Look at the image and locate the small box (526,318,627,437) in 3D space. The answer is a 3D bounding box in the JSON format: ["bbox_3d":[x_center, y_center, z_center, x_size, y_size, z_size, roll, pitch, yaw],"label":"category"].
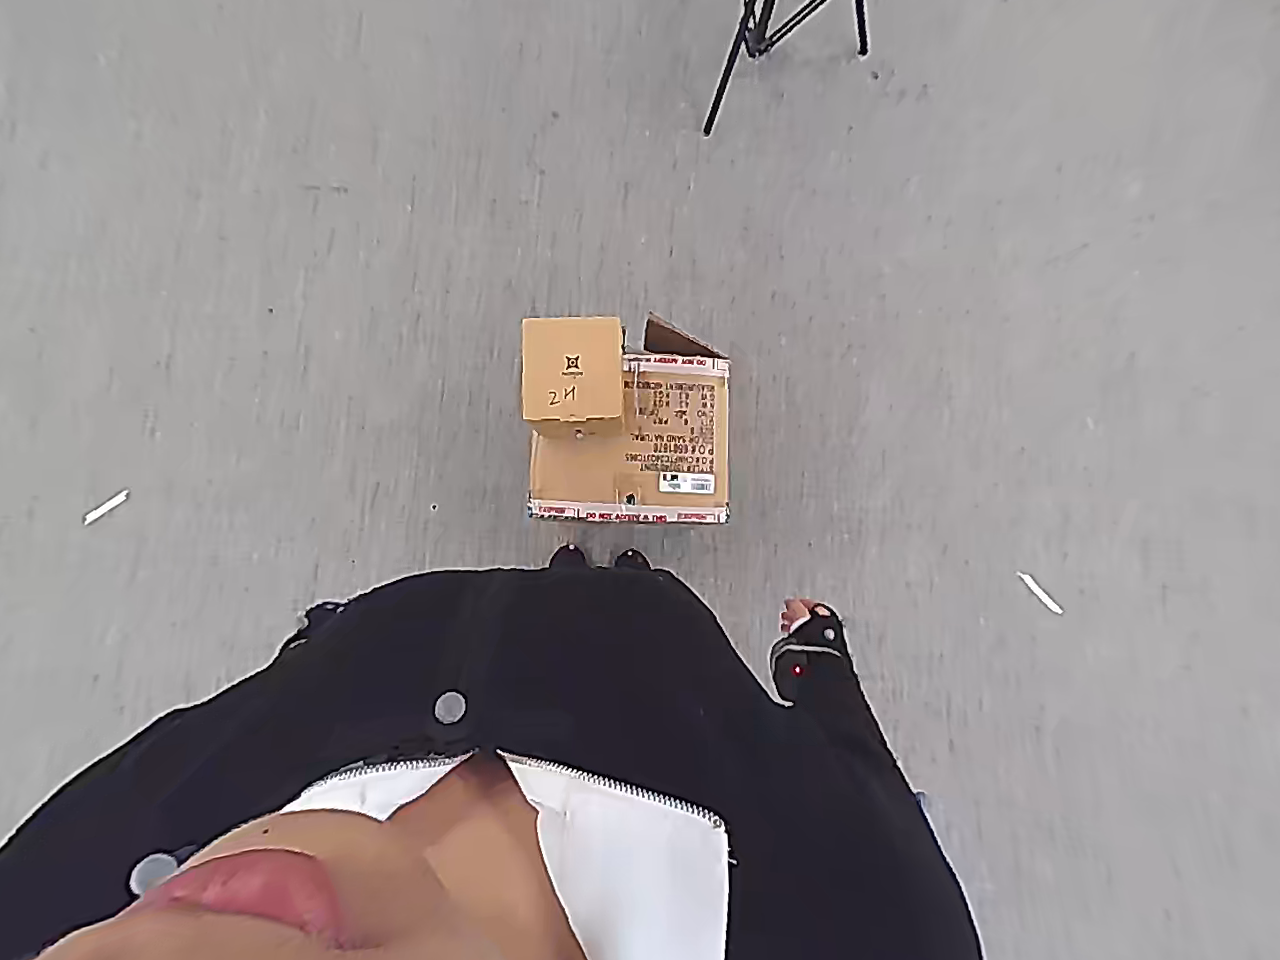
[{"bbox_3d":[-0.108,-0.177,0.974,0.168,0.176,0.179,-1,86,0],"label":"small box"}]
